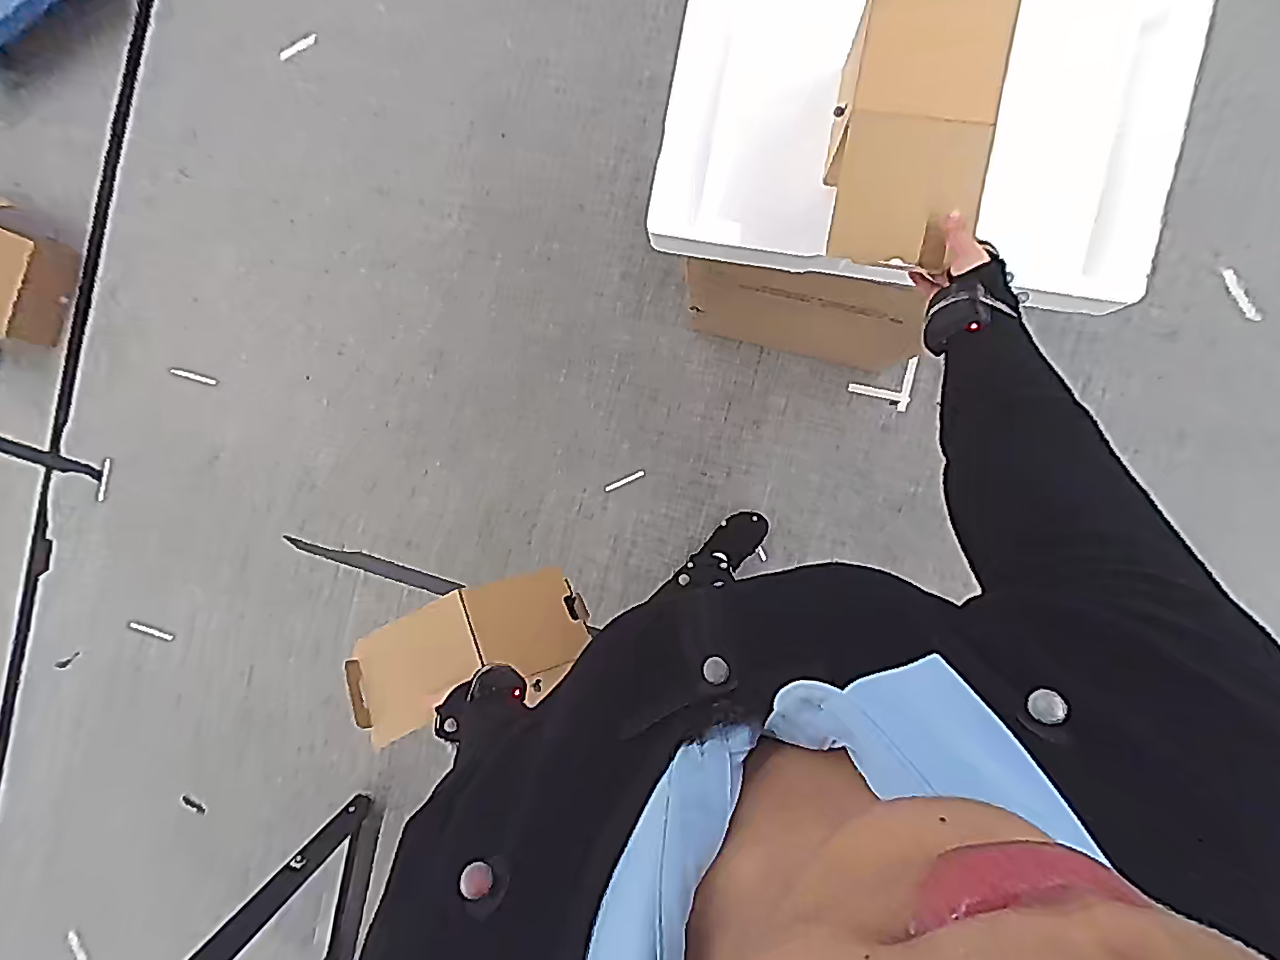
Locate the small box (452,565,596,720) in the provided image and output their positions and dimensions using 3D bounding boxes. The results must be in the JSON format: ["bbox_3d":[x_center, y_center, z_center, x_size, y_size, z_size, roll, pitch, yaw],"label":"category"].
[{"bbox_3d":[-0.199,0.266,0.884,0.179,0.176,0.168,-9,58,-33],"label":"small box"}]
